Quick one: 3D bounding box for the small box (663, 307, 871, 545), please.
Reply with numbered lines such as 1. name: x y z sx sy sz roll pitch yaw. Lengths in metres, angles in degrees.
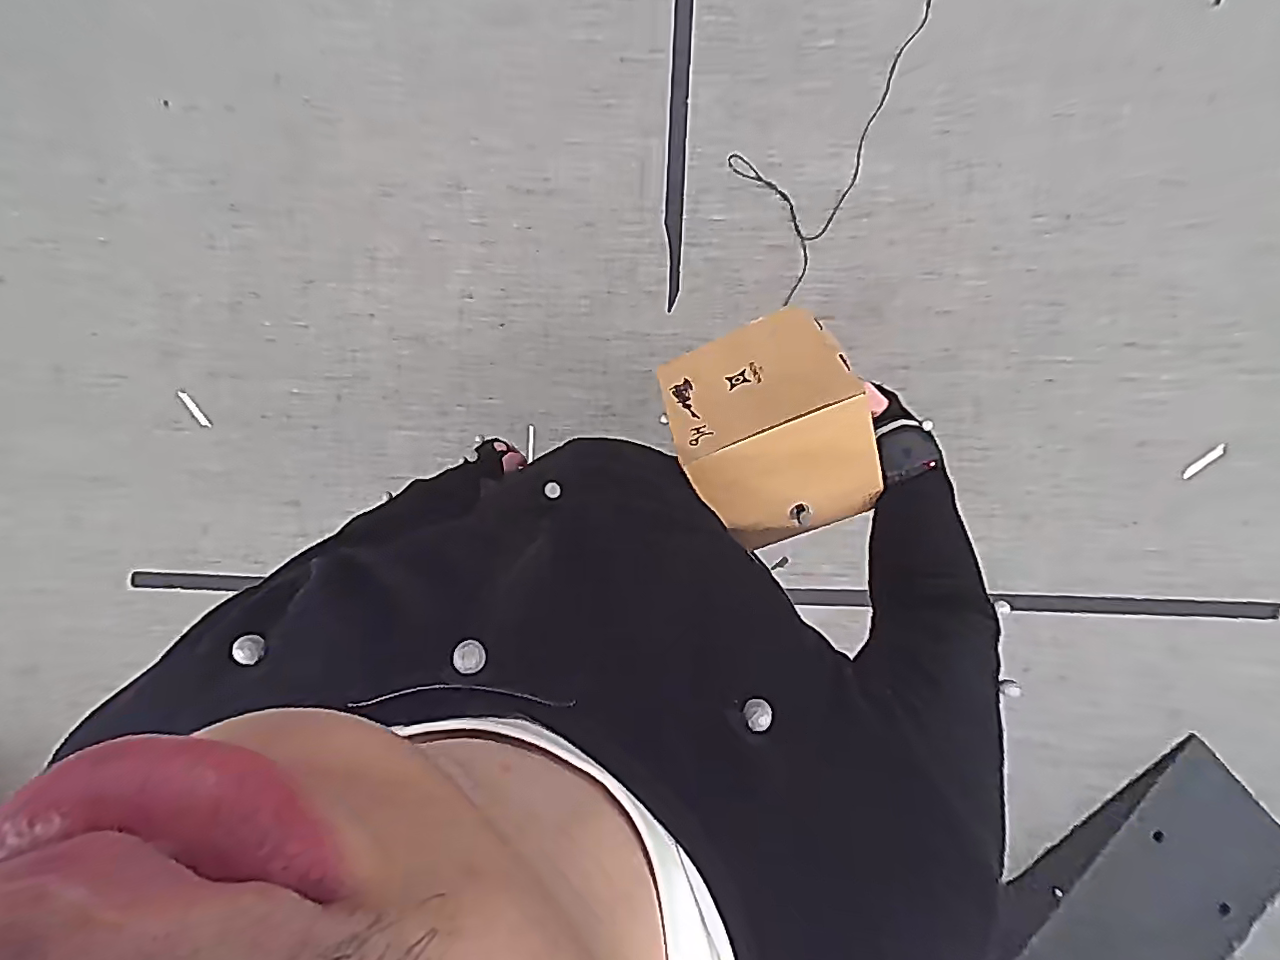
1. small box: 0.145 -0.055 0.611 0.179 0.168 0.176 -22 133 12
